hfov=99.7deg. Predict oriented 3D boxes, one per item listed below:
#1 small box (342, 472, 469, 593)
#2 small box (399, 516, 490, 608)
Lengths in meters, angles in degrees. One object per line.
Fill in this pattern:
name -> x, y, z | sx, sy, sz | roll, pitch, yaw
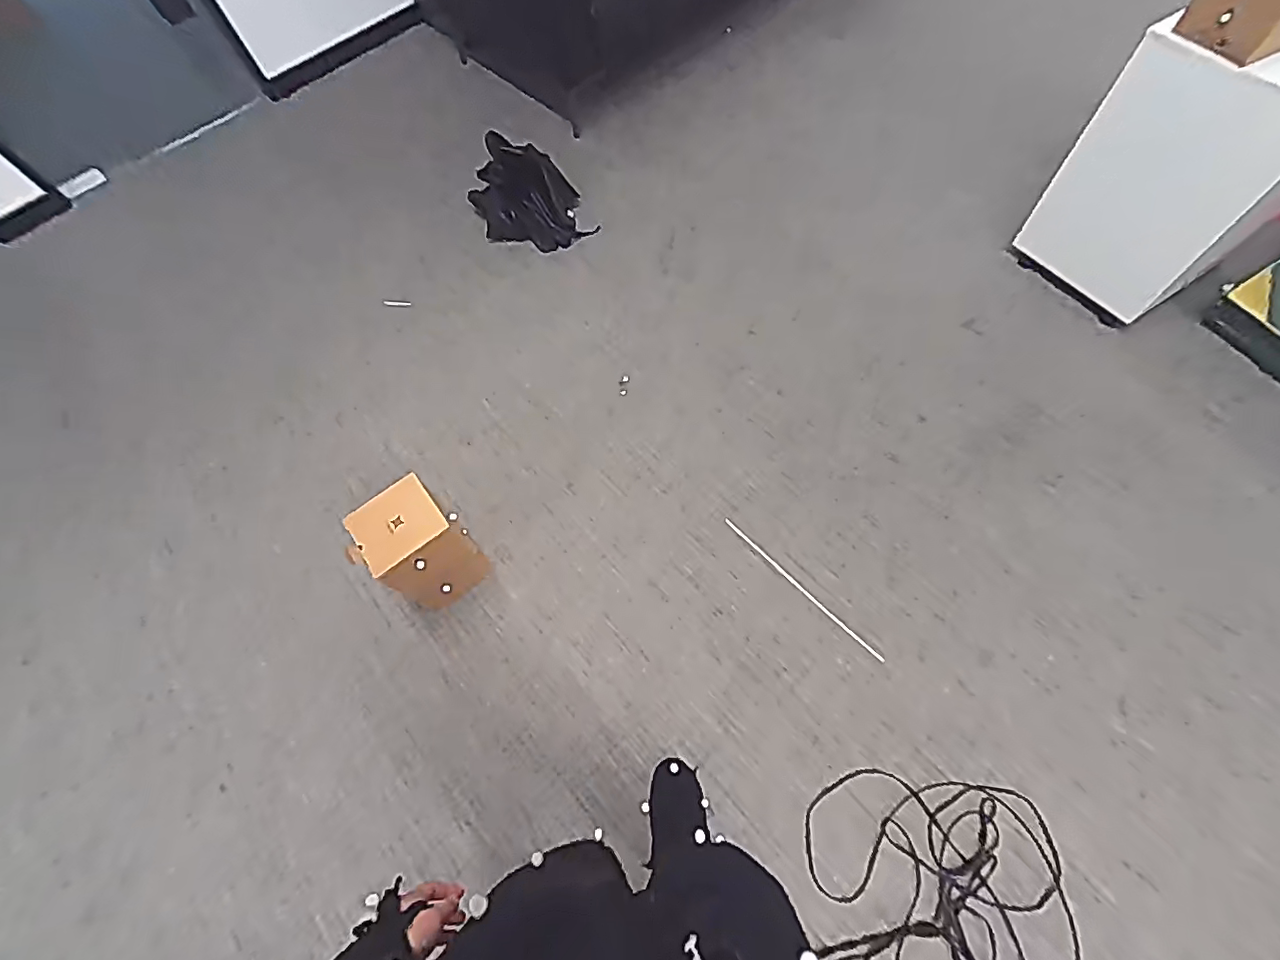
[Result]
small box -> -0.496, 0.119, 1.175 | 0.179, 0.176, 0.168 | -37, 68, -12
small box -> -0.501, 0.189, 1.324 | 0.179, 0.176, 0.168 | -38, 67, -12
